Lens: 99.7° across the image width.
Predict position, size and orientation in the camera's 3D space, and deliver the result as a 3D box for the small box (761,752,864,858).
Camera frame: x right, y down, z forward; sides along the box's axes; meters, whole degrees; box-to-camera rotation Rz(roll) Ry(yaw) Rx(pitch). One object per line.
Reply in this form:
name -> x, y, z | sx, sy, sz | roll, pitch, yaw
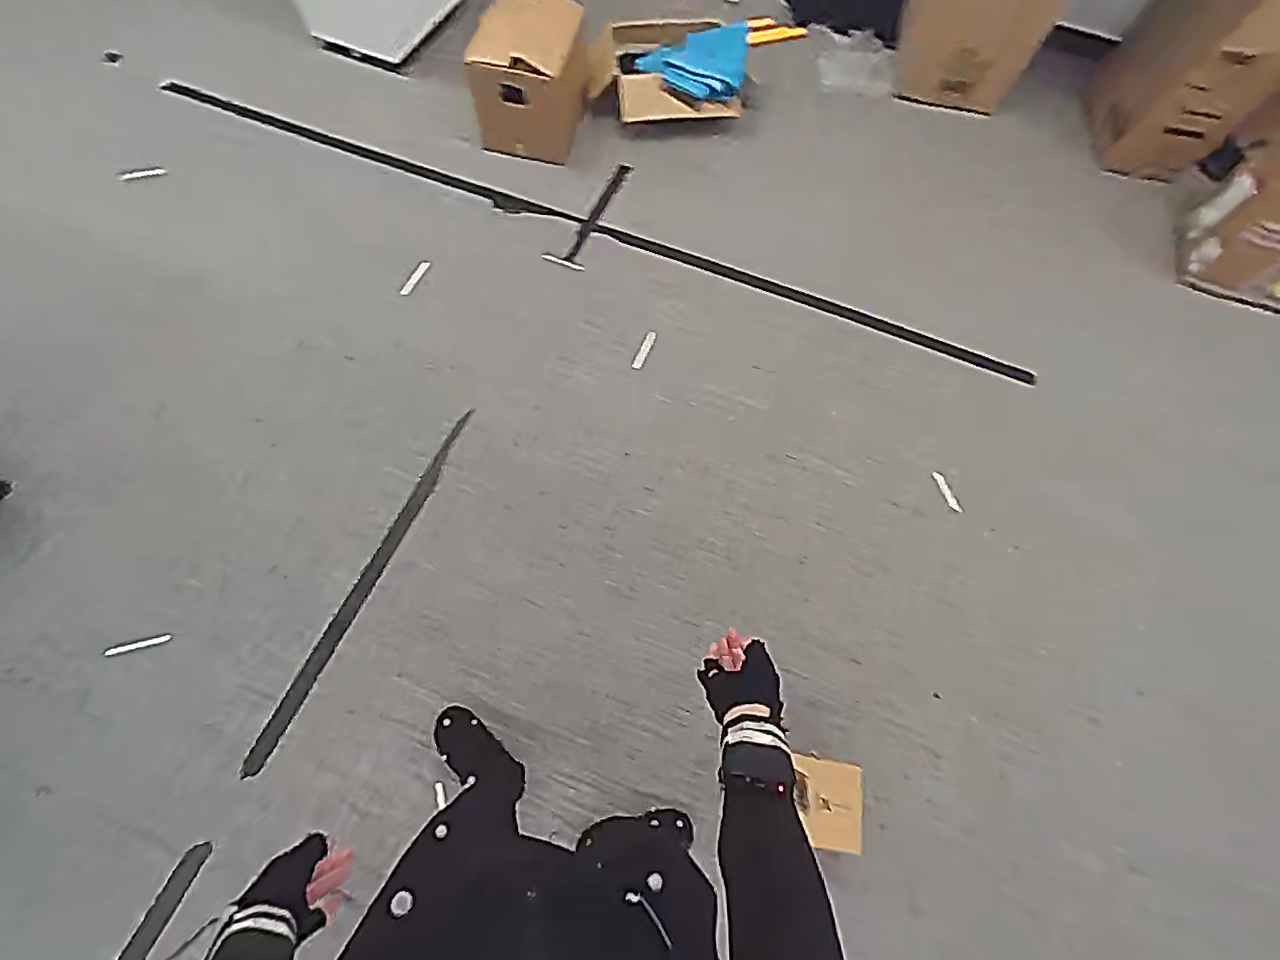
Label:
small box -> 0.380, 0.718, 1.212 | 0.179, 0.176, 0.168 | 11, 67, 0
